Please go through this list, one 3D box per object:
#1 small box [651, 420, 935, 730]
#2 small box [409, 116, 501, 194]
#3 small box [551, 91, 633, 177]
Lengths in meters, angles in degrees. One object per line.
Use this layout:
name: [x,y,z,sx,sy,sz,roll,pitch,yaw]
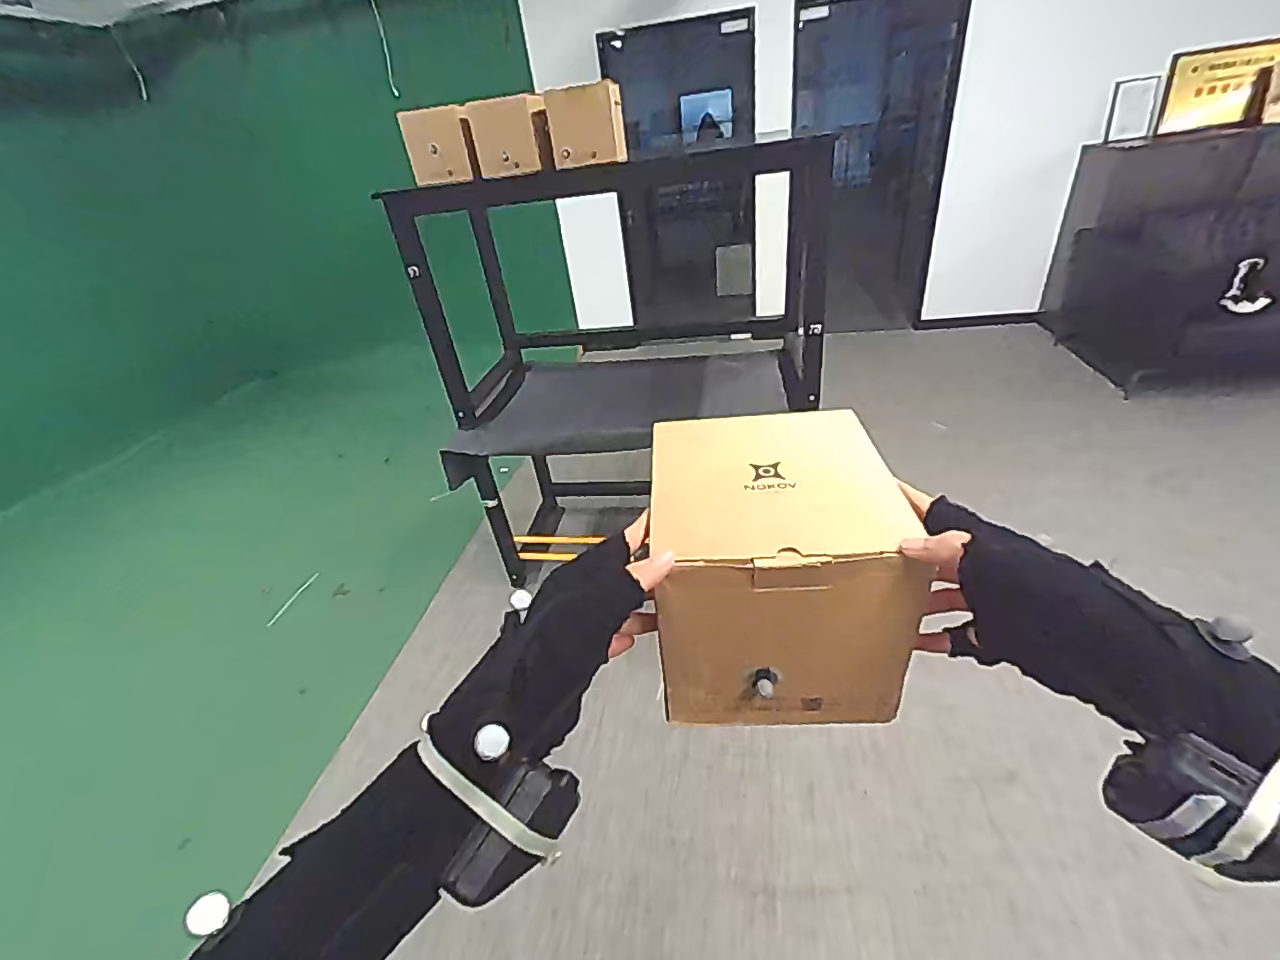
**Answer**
small box: [0.099,0.069,0.427,0.168,0.176,0.179,-4,34,5]
small box: [-0.504,-0.903,1.507,0.168,0.176,0.179,0,33,10]
small box: [-0.117,-0.899,1.415,0.168,0.176,0.179,-2,32,9]
